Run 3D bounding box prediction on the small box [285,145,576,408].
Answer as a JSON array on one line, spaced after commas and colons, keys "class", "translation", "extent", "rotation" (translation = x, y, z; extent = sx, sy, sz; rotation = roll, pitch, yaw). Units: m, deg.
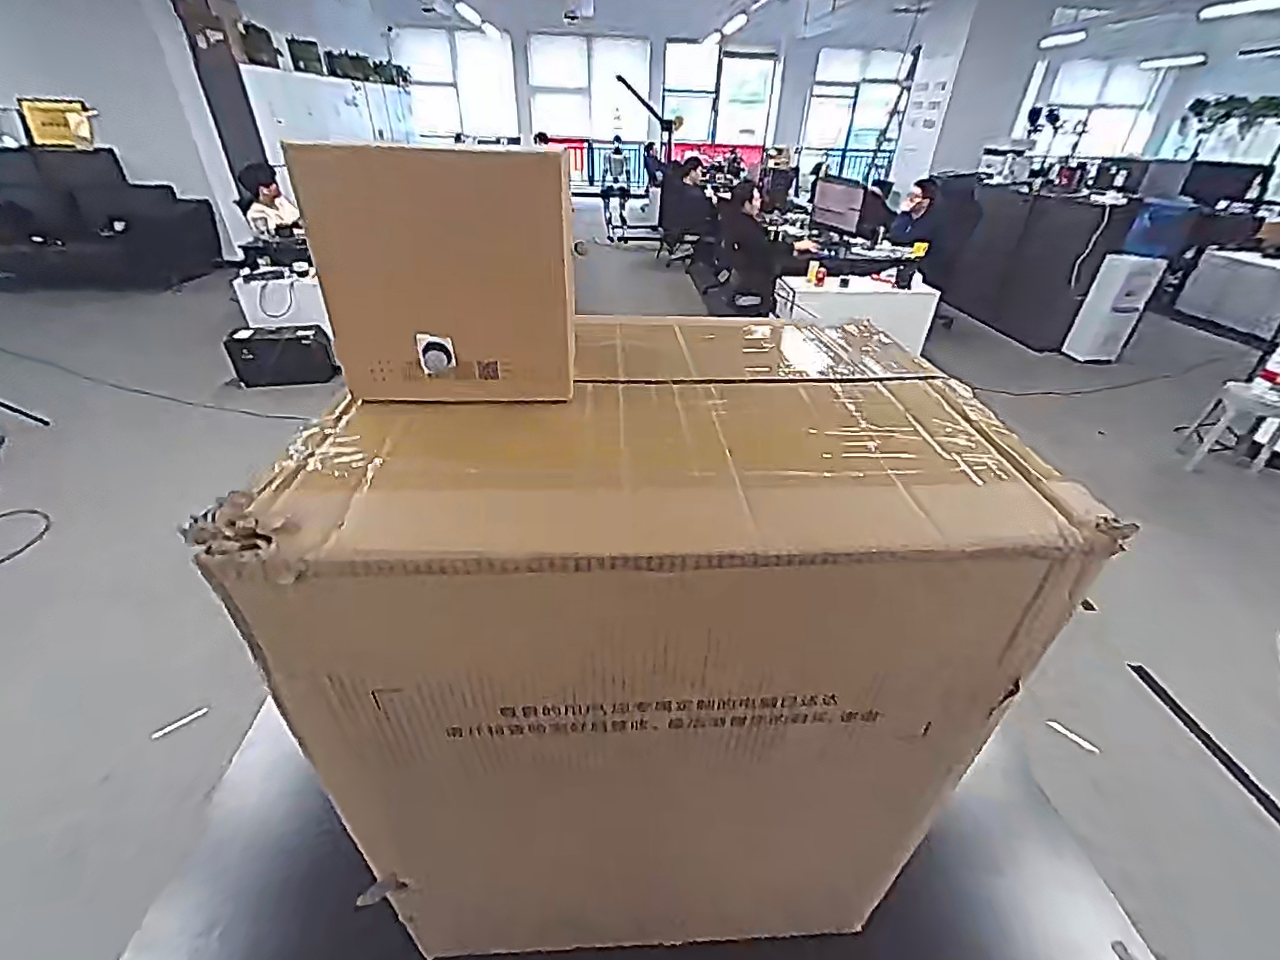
[{"class": "small box", "translation": [-0.140, -0.169, 0.438], "extent": [0.168, 0.176, 0.179], "rotation": [-3, 33, -6]}]
